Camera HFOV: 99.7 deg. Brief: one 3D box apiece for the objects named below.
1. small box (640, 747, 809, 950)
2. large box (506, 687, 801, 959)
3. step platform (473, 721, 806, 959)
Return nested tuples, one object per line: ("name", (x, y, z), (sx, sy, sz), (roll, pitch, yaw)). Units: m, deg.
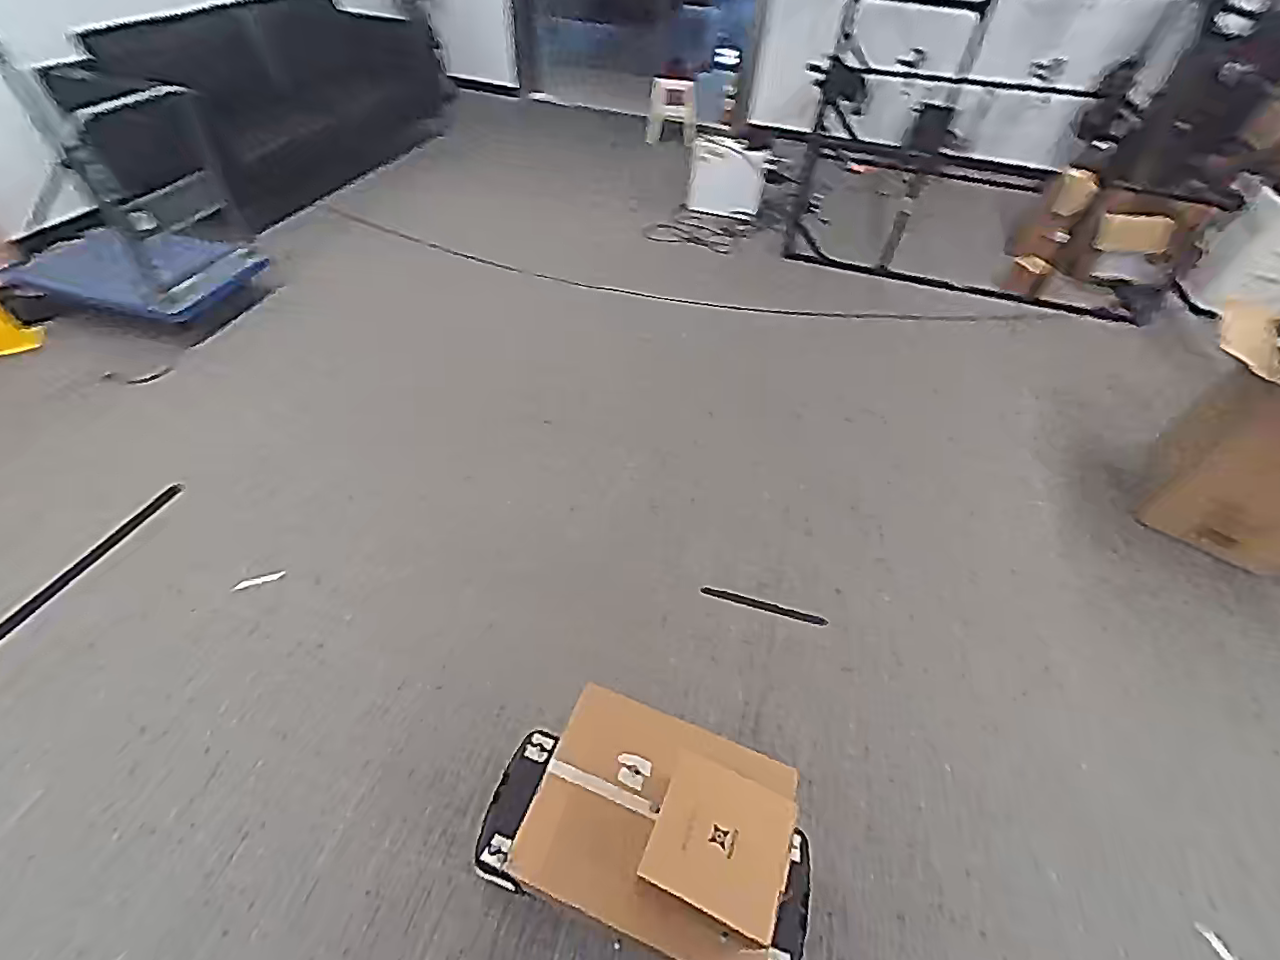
("small box", (0.112, 0.514, 0.758), (0.179, 0.176, 0.168), (20, 50, 15))
("large box", (0.033, 0.640, 0.971), (0.408, 0.320, 0.320), (18, 48, 13))
("step platform", (-0.005, 0.795, 1.149), (0.684, 0.204, 0.286), (19, 49, 14))
